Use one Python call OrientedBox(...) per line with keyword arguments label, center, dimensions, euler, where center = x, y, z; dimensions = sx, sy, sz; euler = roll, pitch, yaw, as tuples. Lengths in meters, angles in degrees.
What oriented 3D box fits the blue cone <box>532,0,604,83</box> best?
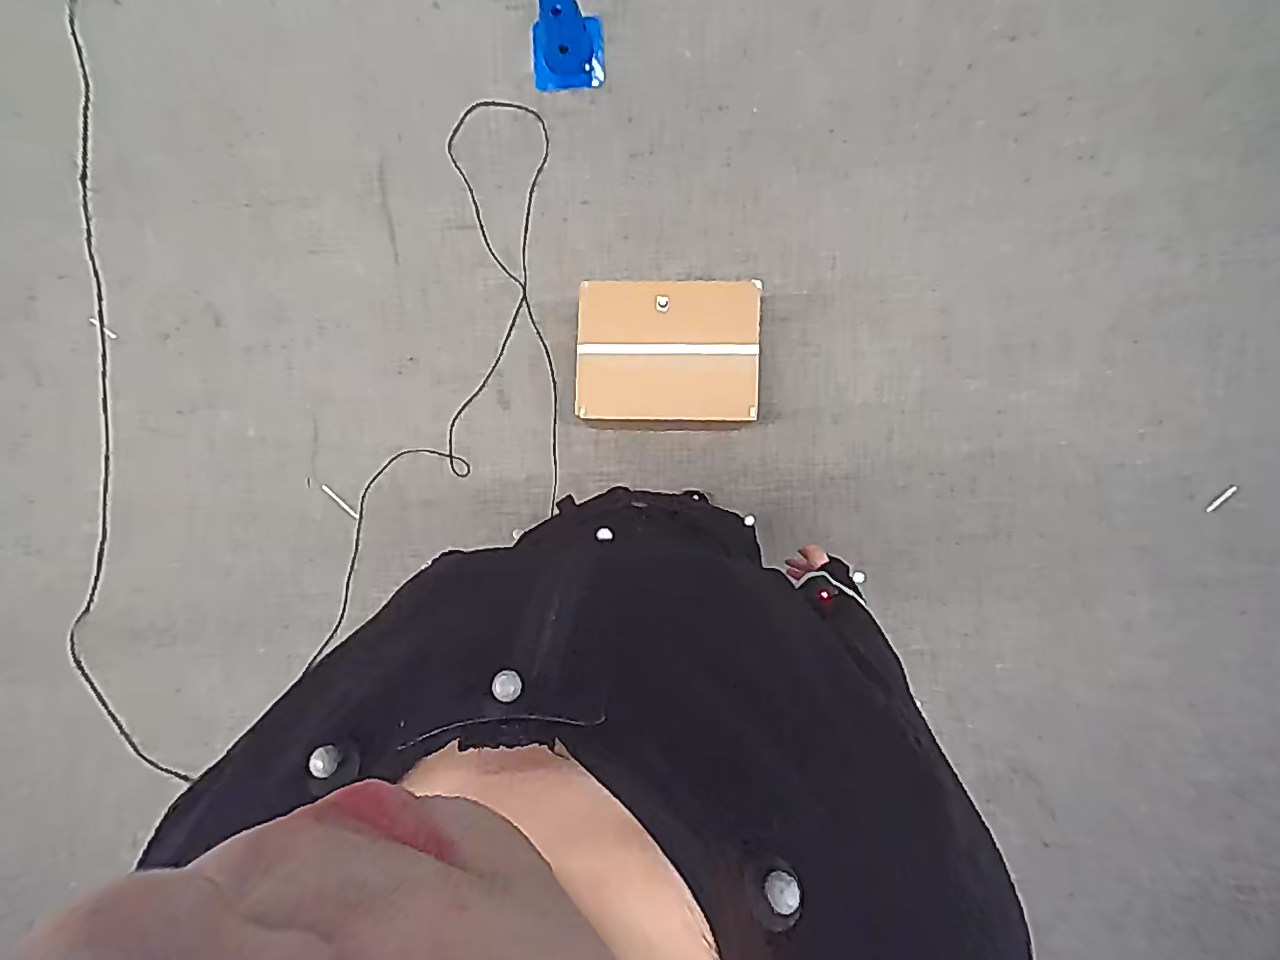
OrientedBox(label="blue cone", center=(-0.204, -1.200, 1.329), dimensions=(0.193, 0.380, 0.192), euler=(-5, 90, 1))
